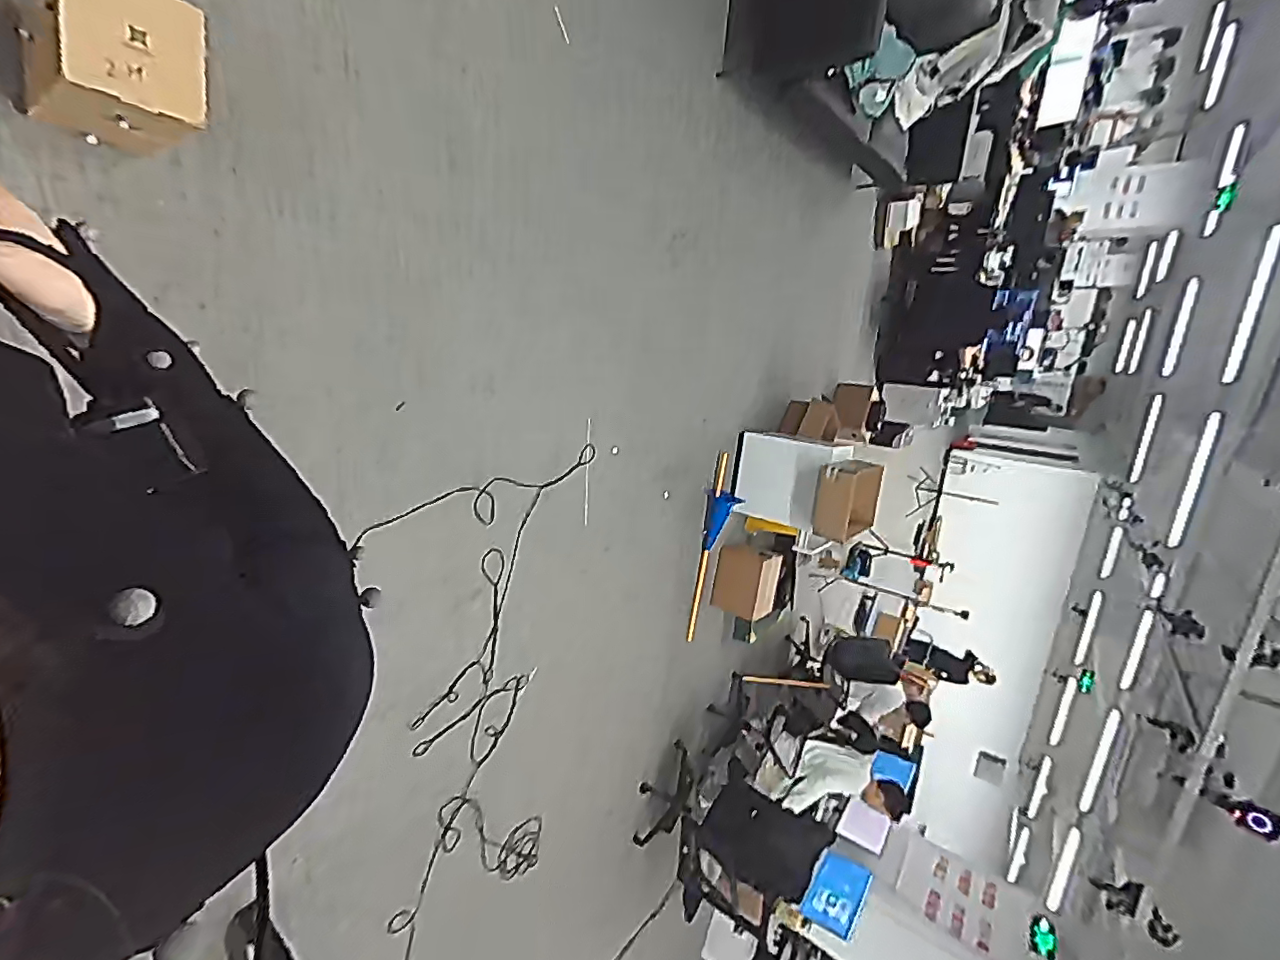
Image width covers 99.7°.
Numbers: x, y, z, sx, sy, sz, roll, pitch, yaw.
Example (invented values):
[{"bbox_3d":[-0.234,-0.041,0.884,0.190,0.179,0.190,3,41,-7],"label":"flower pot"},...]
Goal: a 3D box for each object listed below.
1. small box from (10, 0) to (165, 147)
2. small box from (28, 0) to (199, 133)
[{"bbox_3d":[-0.953,-0.711,0.936,0.168,0.176,0.179,-5,108,-54],"label":"small box"},{"bbox_3d":[-0.820,-0.678,0.845,0.168,0.176,0.179,-8,109,-53],"label":"small box"}]
